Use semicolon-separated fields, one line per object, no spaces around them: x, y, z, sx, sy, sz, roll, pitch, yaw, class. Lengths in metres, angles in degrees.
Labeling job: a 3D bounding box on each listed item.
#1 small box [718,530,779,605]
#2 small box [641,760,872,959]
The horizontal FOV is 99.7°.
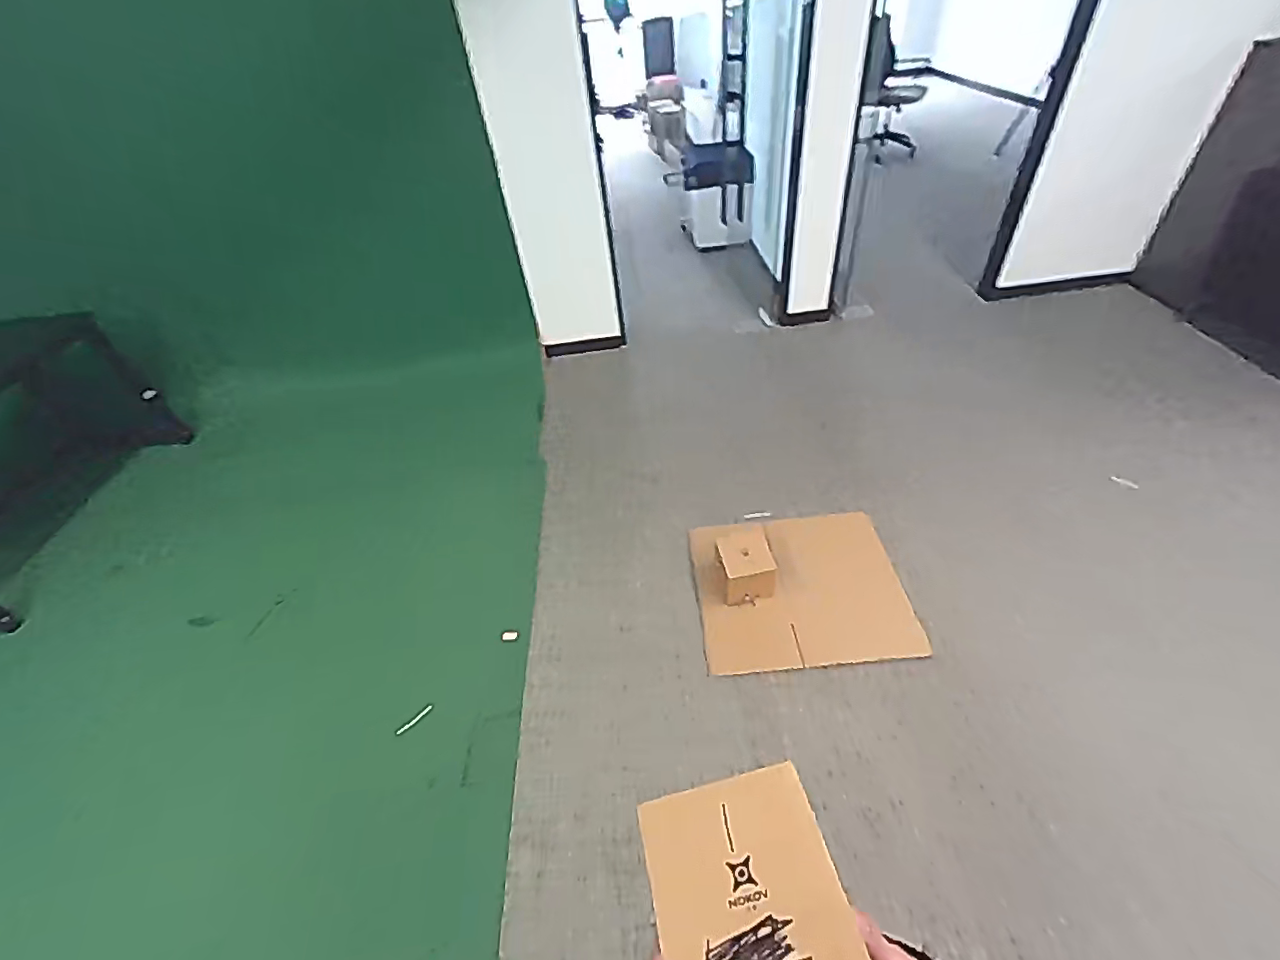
0.366;0.301;1.858;0.168;0.176;0.179;-11;44;-2;small box
0.107;0.411;0.526;0.168;0.176;0.179;-14;41;-1;small box
